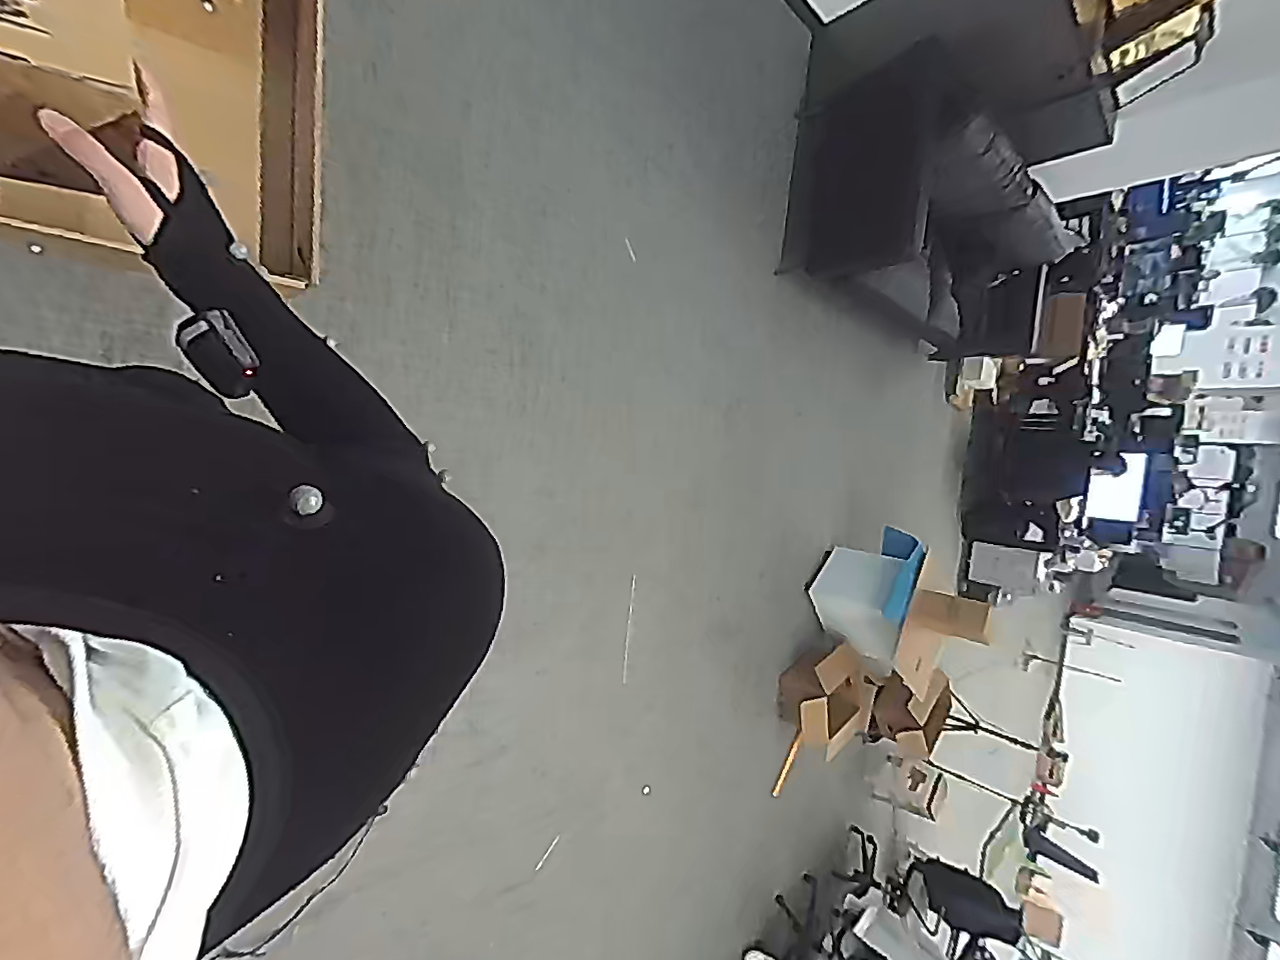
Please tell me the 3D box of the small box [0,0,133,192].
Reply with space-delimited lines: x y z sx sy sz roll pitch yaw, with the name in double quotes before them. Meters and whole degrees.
"small box" -0.532 -0.372 0.438 0.168 0.176 0.179 -9 87 -45
